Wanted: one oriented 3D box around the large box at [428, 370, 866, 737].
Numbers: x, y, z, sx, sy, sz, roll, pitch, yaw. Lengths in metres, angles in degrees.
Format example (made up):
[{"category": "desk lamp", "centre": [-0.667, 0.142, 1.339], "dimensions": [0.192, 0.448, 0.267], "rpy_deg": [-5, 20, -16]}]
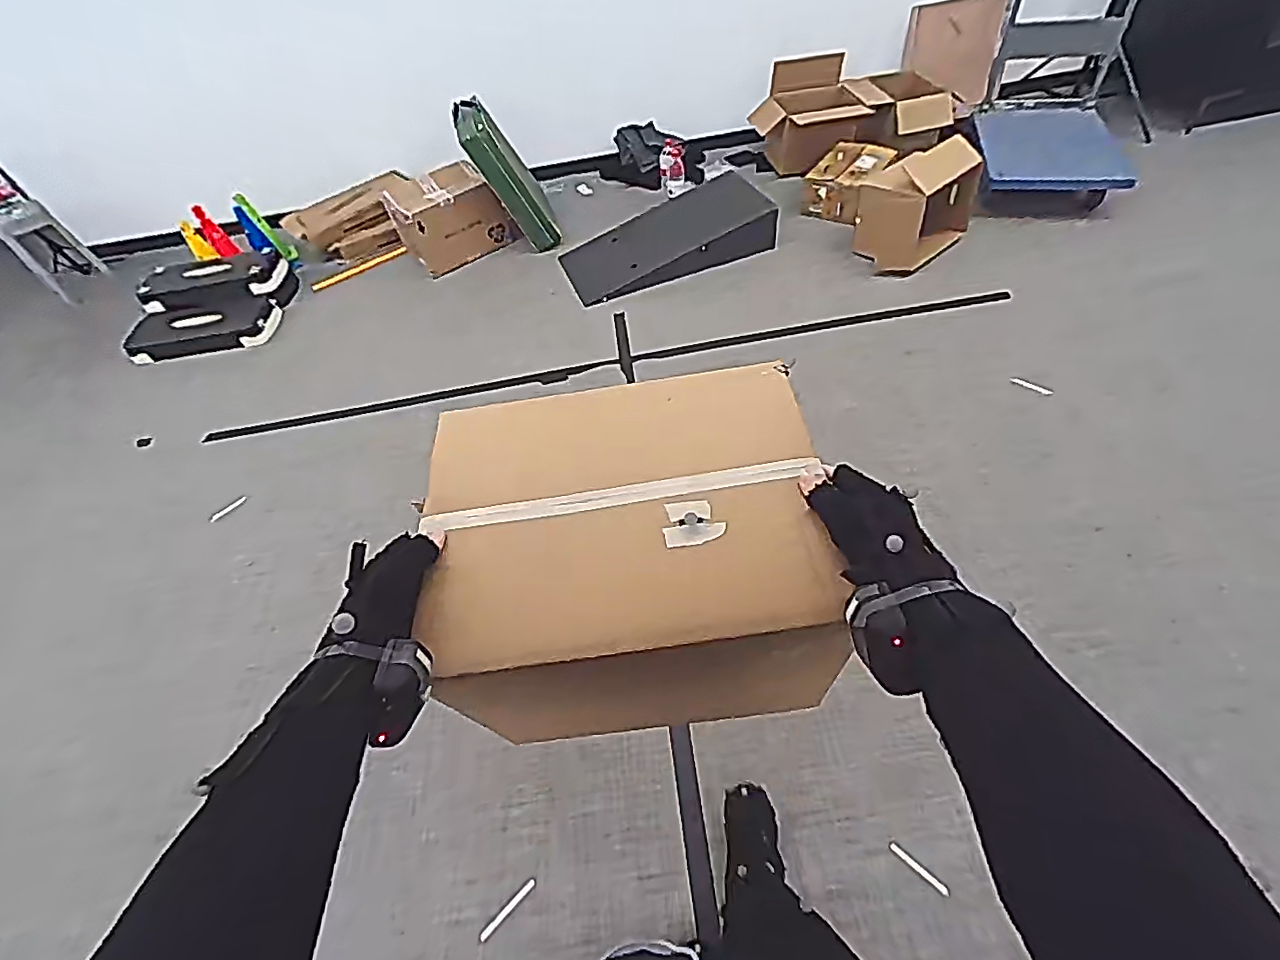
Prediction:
[{"category": "large box", "centre": [0.002, 0.105, 0.682], "dimensions": [0.408, 0.320, 0.320], "rpy_deg": [-8, 55, 1]}]
